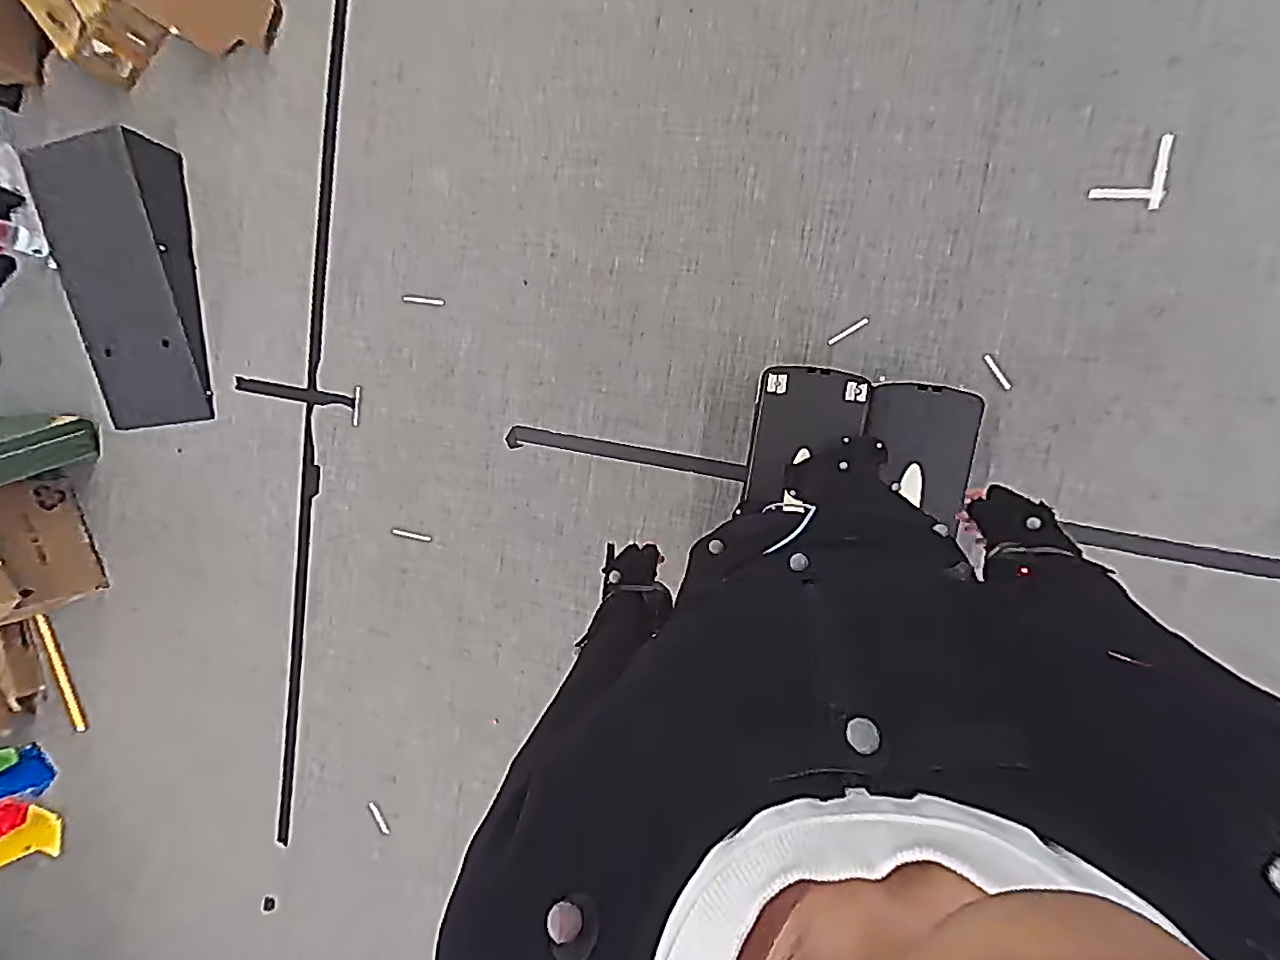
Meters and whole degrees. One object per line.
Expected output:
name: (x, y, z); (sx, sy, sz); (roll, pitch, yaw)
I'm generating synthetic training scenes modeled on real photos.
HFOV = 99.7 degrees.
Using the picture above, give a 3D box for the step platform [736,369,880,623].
step platform: (0.452, 0.042, 1.490); (0.286, 0.204, 0.684); (9, 95, 12)
